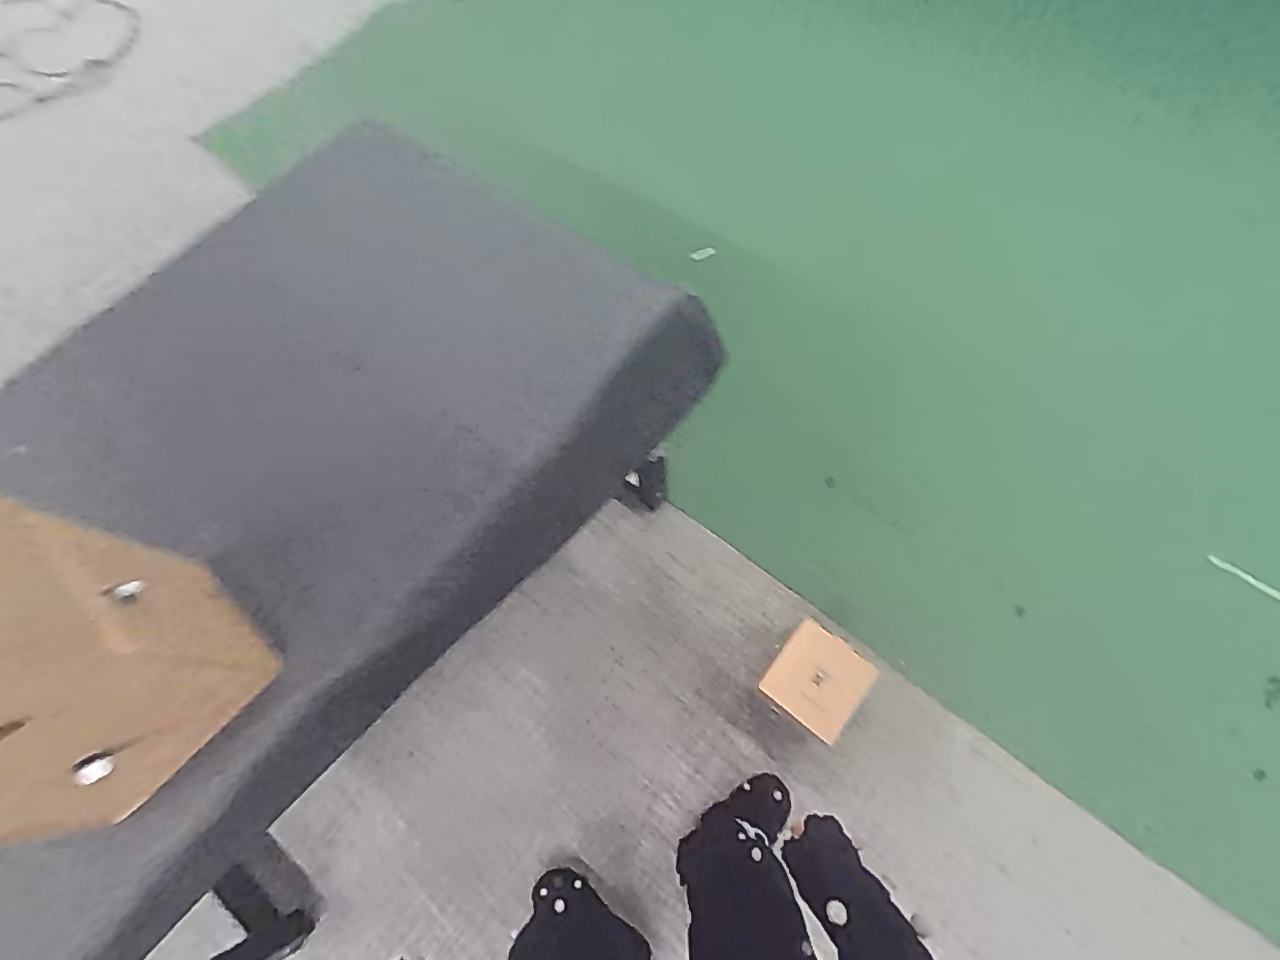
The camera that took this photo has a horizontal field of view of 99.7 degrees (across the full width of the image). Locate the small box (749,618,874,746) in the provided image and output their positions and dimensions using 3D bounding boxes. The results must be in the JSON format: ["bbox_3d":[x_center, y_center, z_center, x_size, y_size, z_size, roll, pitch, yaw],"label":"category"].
[{"bbox_3d":[0.341,0.412,1.113,0.168,0.176,0.179,38,76,17],"label":"small box"}]
